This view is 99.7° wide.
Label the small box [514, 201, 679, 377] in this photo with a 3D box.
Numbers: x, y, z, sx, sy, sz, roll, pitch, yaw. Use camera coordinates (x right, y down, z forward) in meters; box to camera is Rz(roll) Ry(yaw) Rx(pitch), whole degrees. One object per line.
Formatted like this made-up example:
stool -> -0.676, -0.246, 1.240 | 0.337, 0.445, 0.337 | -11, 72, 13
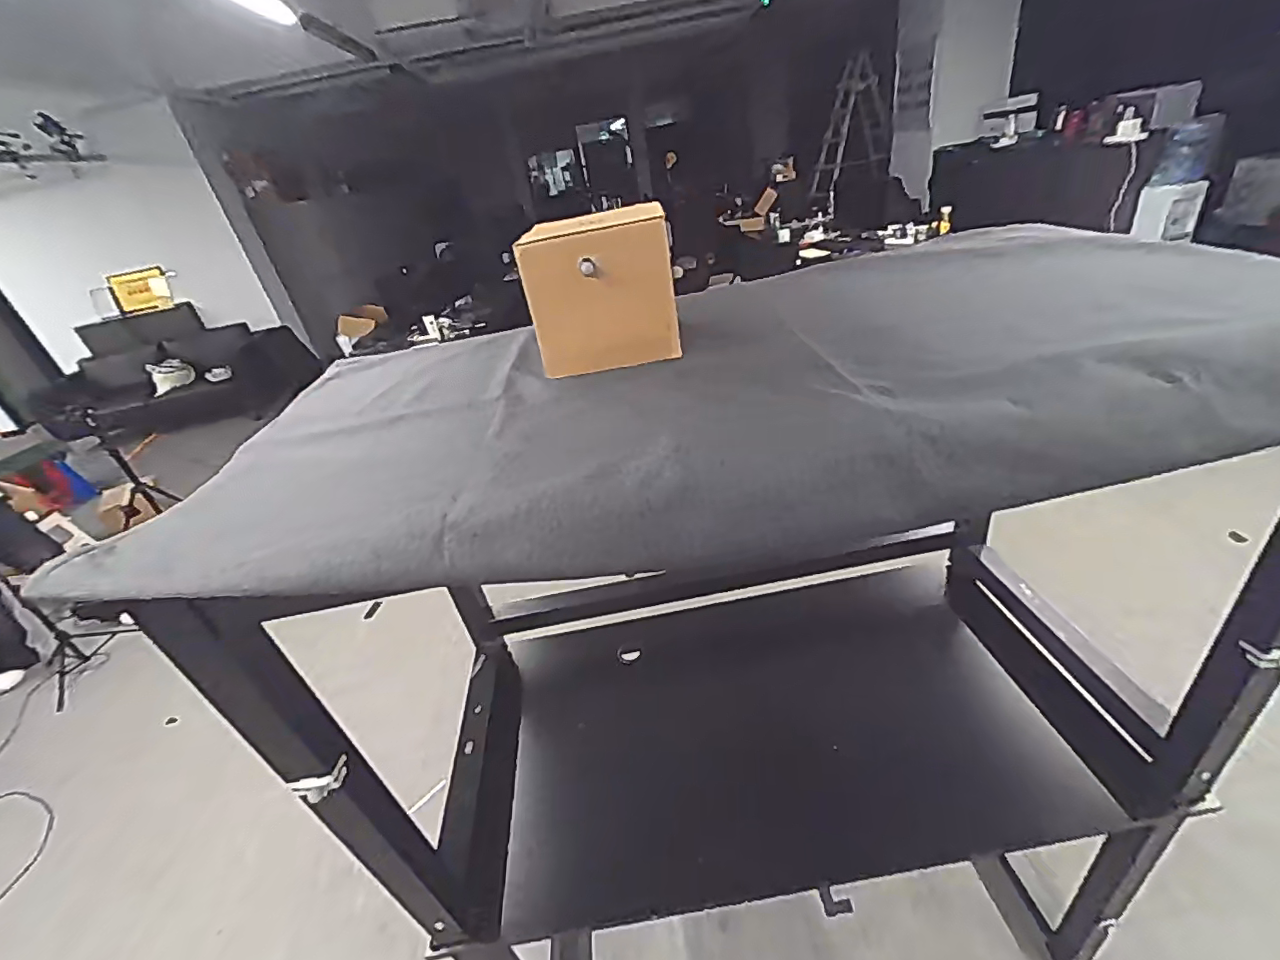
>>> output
small box -> -0.044, -0.251, 0.710 | 0.179, 0.176, 0.168 | -9, 31, 5
